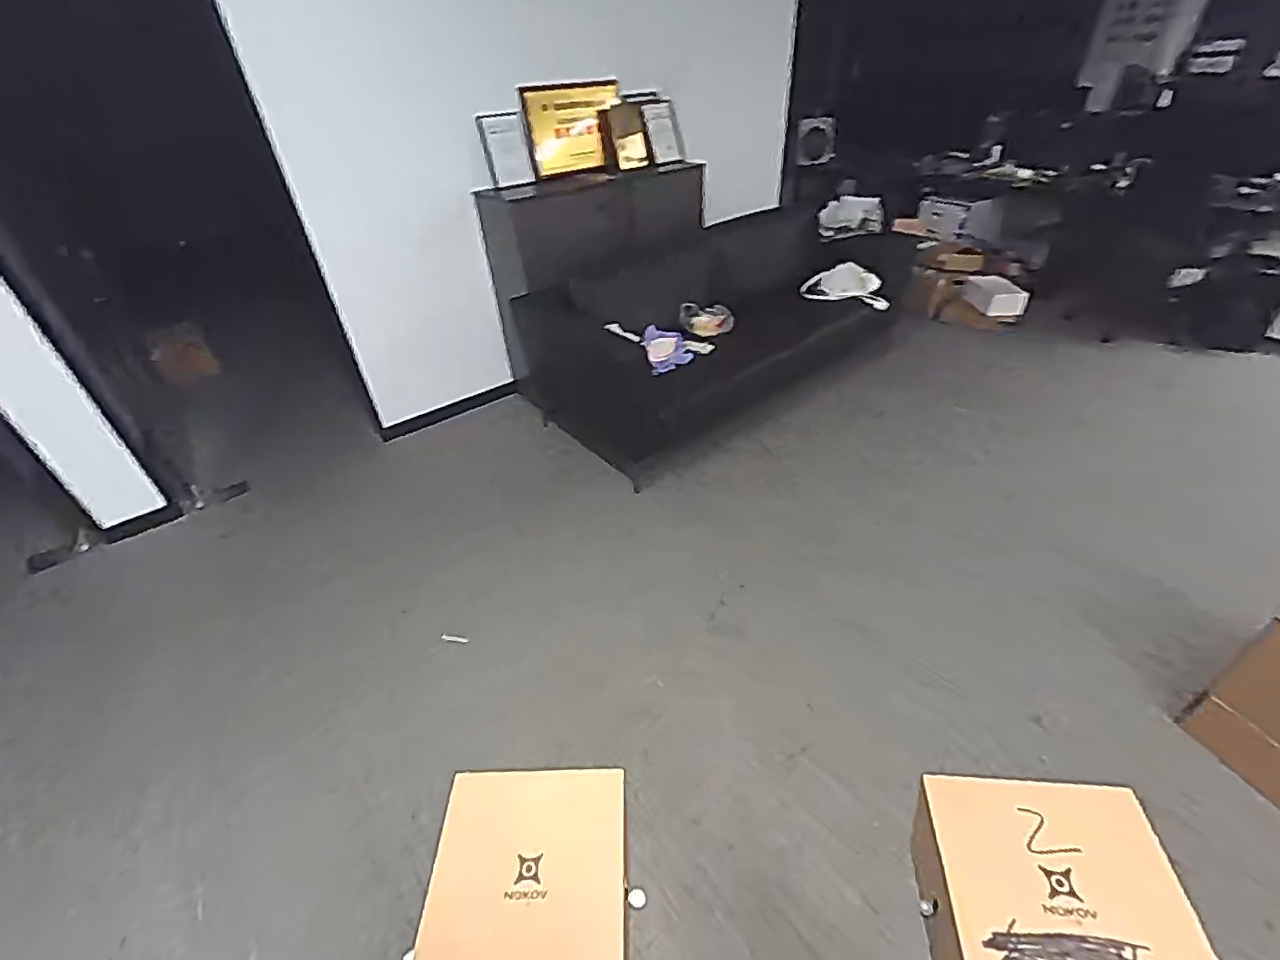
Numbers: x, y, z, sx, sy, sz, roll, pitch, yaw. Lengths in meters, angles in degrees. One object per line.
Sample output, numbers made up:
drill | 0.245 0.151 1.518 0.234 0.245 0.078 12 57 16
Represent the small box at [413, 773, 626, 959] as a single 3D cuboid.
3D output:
small box | -0.098 0.407 0.514 0.168 0.176 0.179 -1 38 -2
